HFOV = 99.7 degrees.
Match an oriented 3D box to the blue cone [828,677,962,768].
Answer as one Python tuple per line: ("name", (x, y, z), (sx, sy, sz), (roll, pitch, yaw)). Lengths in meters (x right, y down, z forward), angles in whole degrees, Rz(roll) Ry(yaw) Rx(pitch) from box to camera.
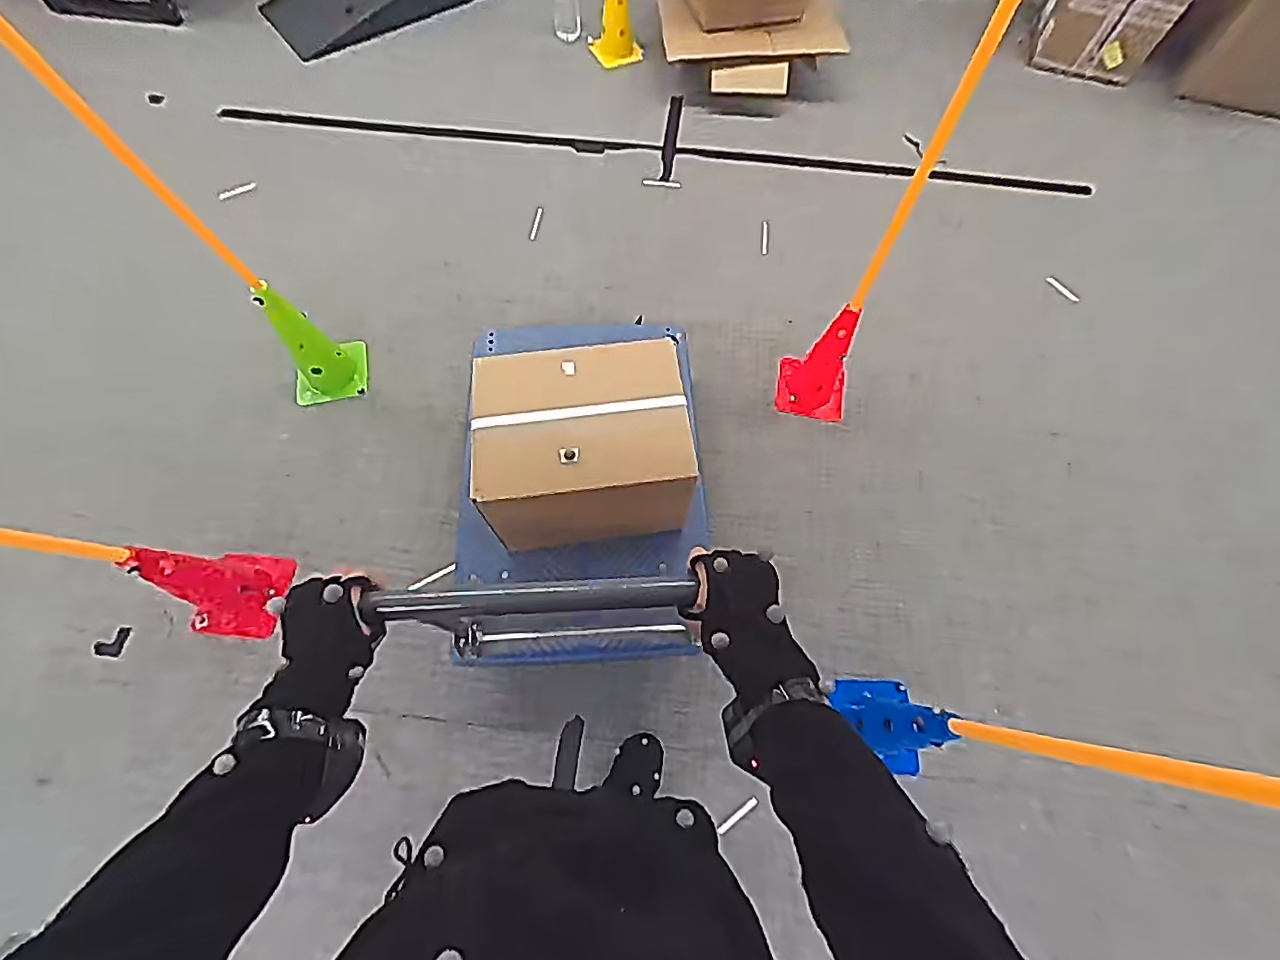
("blue cone", (0.545, 0.493, 1.111), (0.193, 0.380, 0.192), (3, 65, 0))

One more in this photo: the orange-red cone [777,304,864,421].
("orange-red cone", (0.524, -0.344, 1.471), (0.199, 0.360, 0.198), (13, 67, 3))
